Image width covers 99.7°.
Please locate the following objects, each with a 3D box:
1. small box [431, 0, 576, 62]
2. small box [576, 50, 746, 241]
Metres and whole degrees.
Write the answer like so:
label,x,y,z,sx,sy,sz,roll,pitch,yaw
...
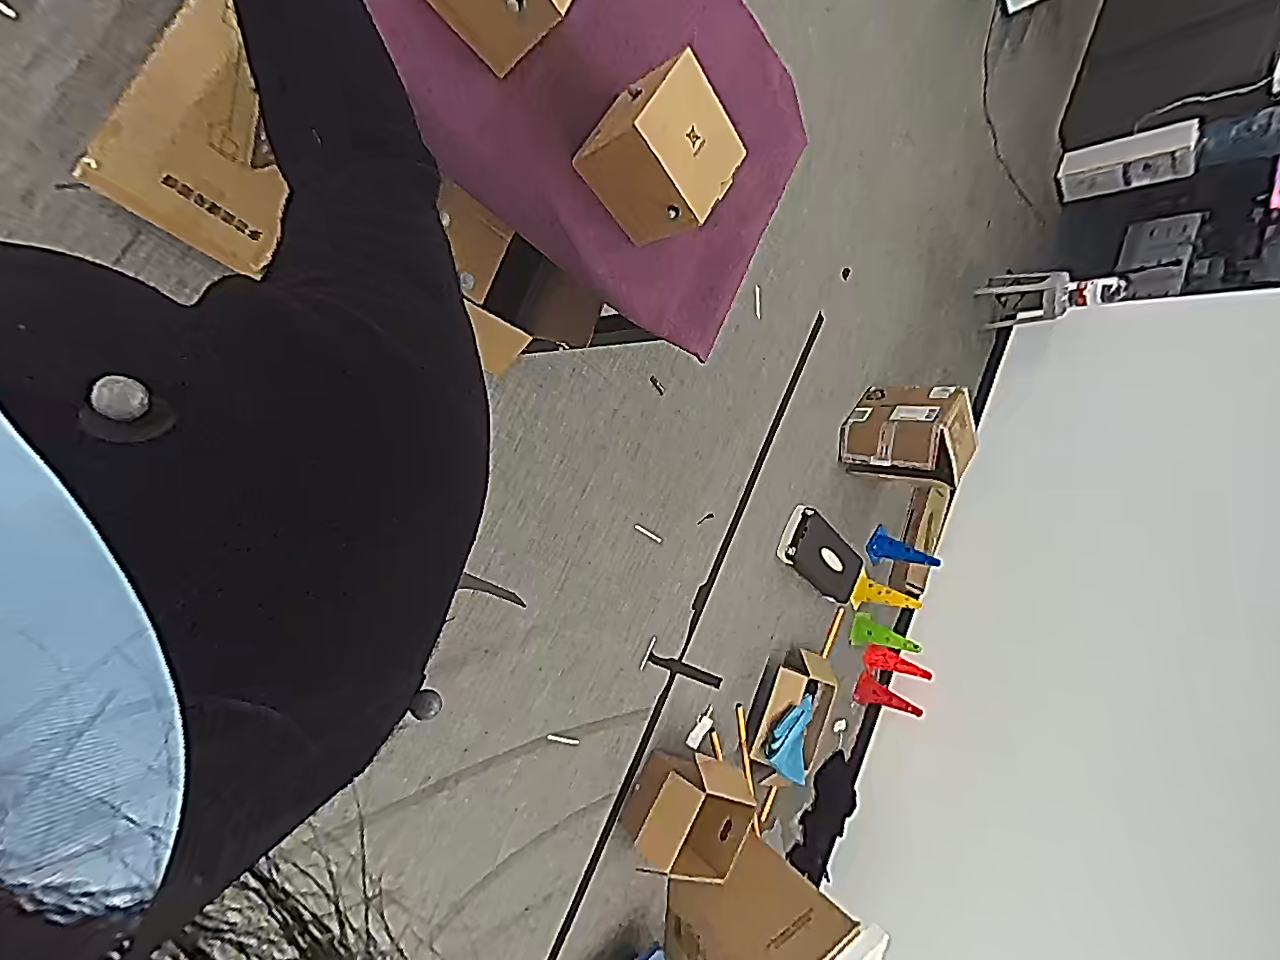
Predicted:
label,x,y,z,sx,sy,sz,roll,pitch,yaw
small box,-0.168,-0.666,0.665,0.179,0.176,0.168,32,75,-39
small box,0.031,-0.514,0.862,0.179,0.176,0.168,40,72,-37
